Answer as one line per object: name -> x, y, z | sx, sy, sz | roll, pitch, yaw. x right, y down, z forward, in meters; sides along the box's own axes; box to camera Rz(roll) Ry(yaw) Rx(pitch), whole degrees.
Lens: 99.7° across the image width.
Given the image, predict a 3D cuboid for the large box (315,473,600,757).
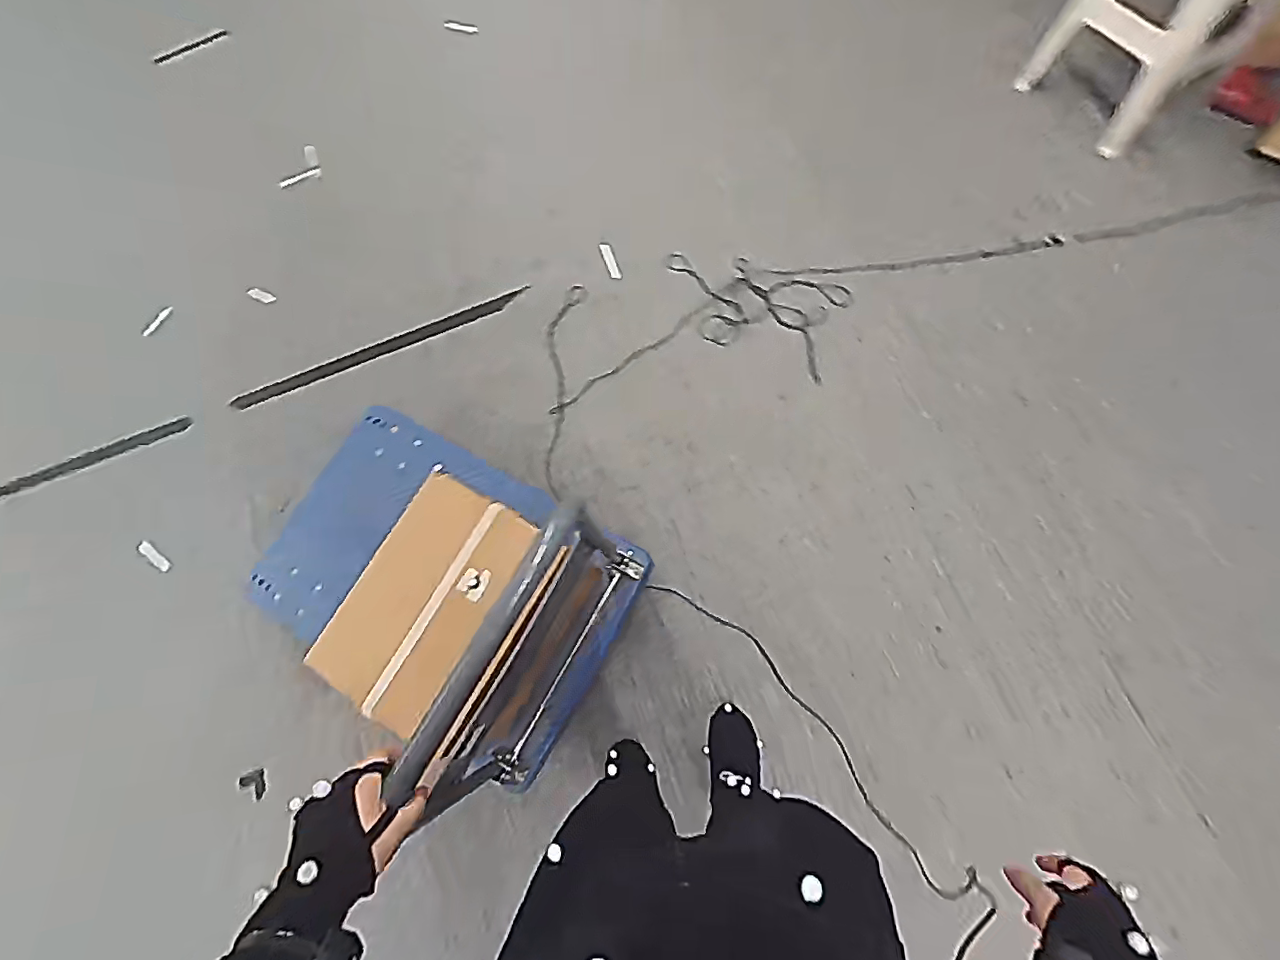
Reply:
large box -> -0.331, 0.266, 1.093 | 0.320, 0.320, 0.408 | 28, 77, 14
